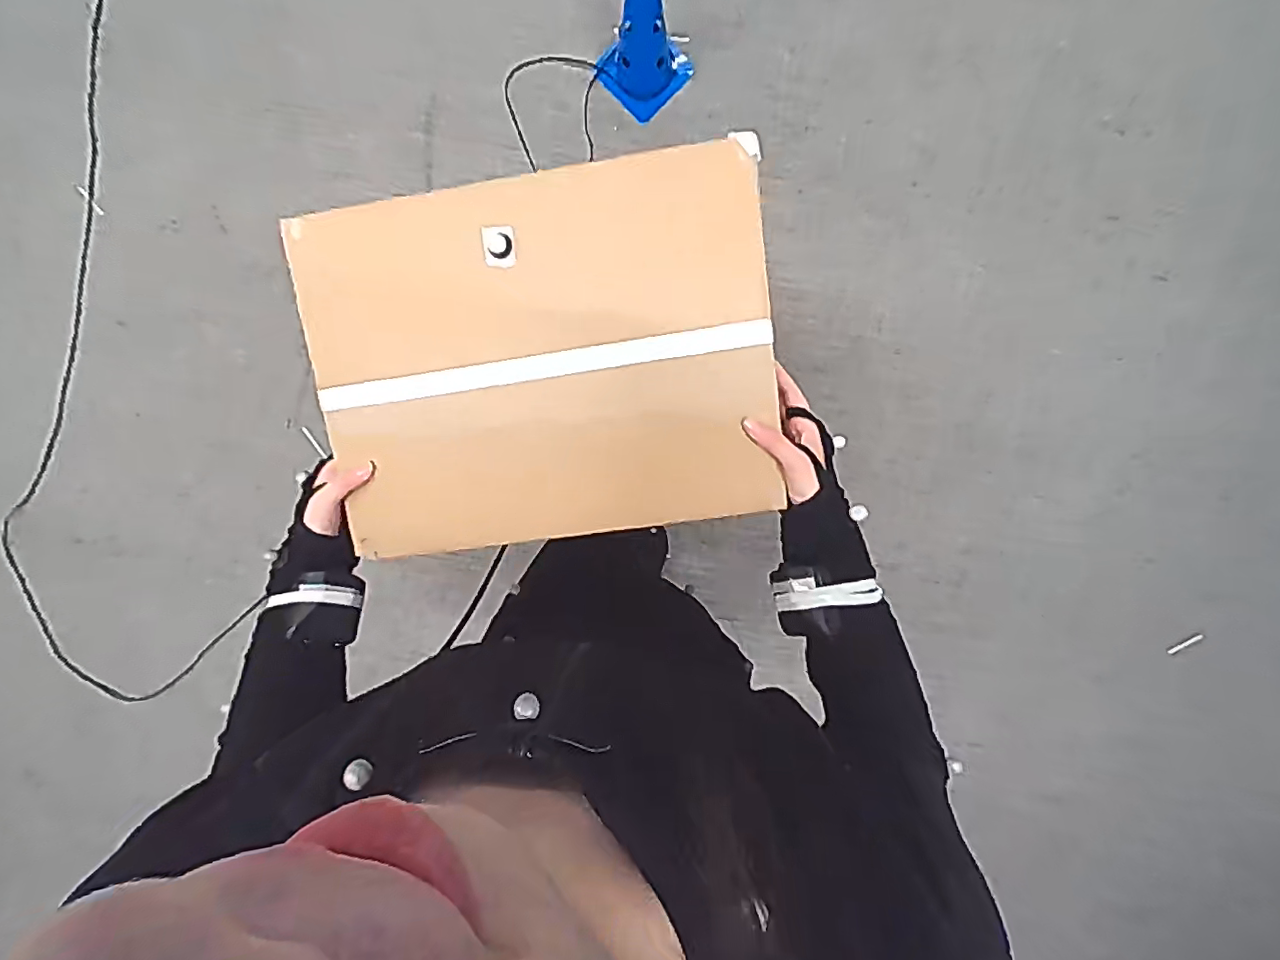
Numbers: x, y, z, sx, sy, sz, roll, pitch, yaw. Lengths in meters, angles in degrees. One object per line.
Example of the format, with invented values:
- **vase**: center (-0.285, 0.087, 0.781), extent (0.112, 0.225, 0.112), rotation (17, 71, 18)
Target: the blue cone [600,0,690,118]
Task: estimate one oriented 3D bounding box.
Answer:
- **blue cone**: center (0.013, -1.040, 1.209), extent (0.192, 0.380, 0.193), rotation (44, 92, -2)
